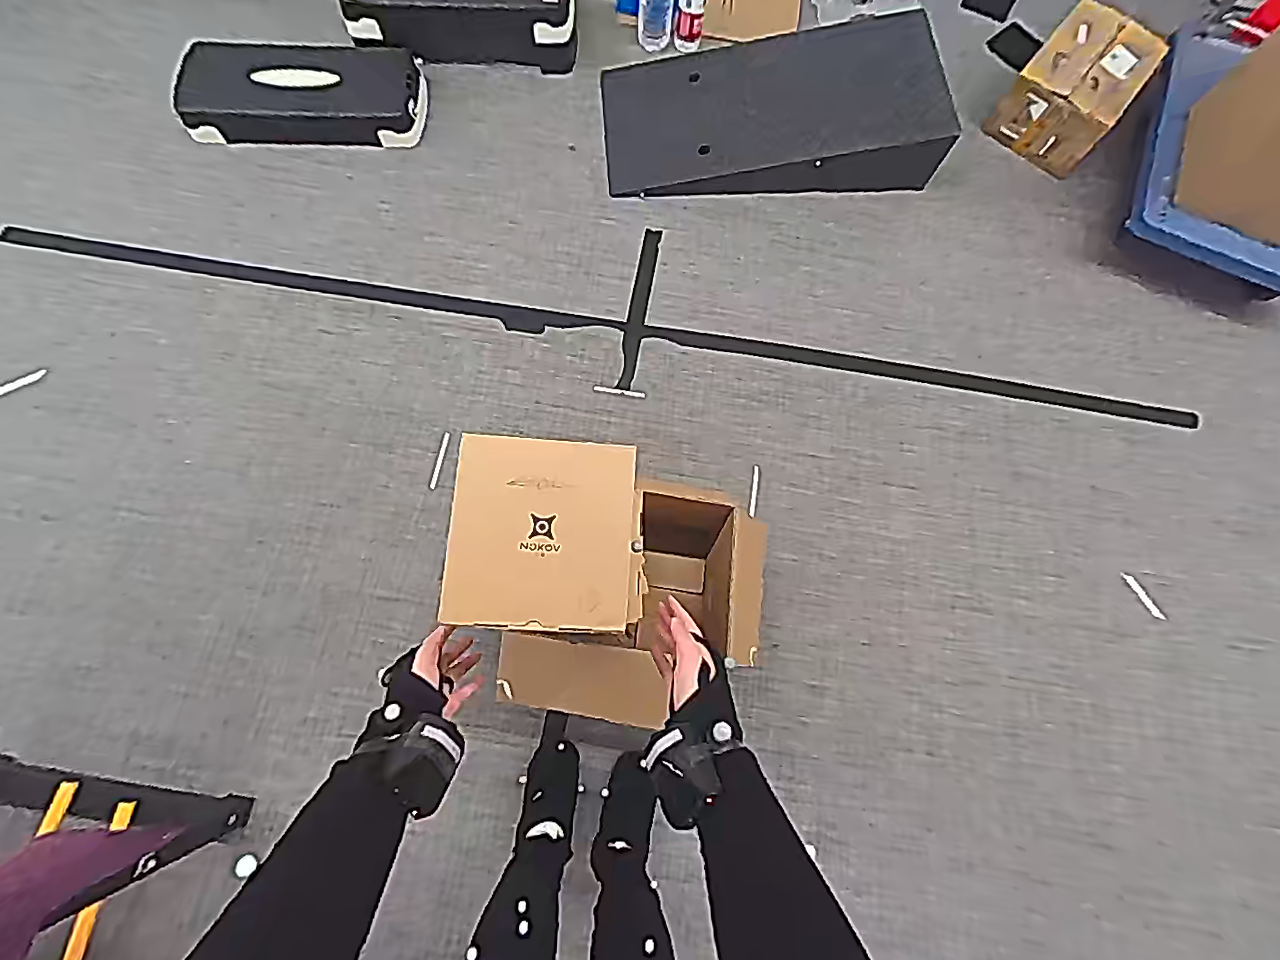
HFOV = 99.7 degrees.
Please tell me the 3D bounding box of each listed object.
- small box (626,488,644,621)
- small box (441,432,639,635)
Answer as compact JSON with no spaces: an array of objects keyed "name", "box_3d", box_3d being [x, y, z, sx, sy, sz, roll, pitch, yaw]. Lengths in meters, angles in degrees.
[{"name":"small box","box_3d":[-0.092,0.100,0.728,0.179,0.176,0.168,4,78,-5]},{"name":"small box","box_3d":[-0.094,0.062,0.569,0.168,0.176,0.179,5,77,-5]}]
